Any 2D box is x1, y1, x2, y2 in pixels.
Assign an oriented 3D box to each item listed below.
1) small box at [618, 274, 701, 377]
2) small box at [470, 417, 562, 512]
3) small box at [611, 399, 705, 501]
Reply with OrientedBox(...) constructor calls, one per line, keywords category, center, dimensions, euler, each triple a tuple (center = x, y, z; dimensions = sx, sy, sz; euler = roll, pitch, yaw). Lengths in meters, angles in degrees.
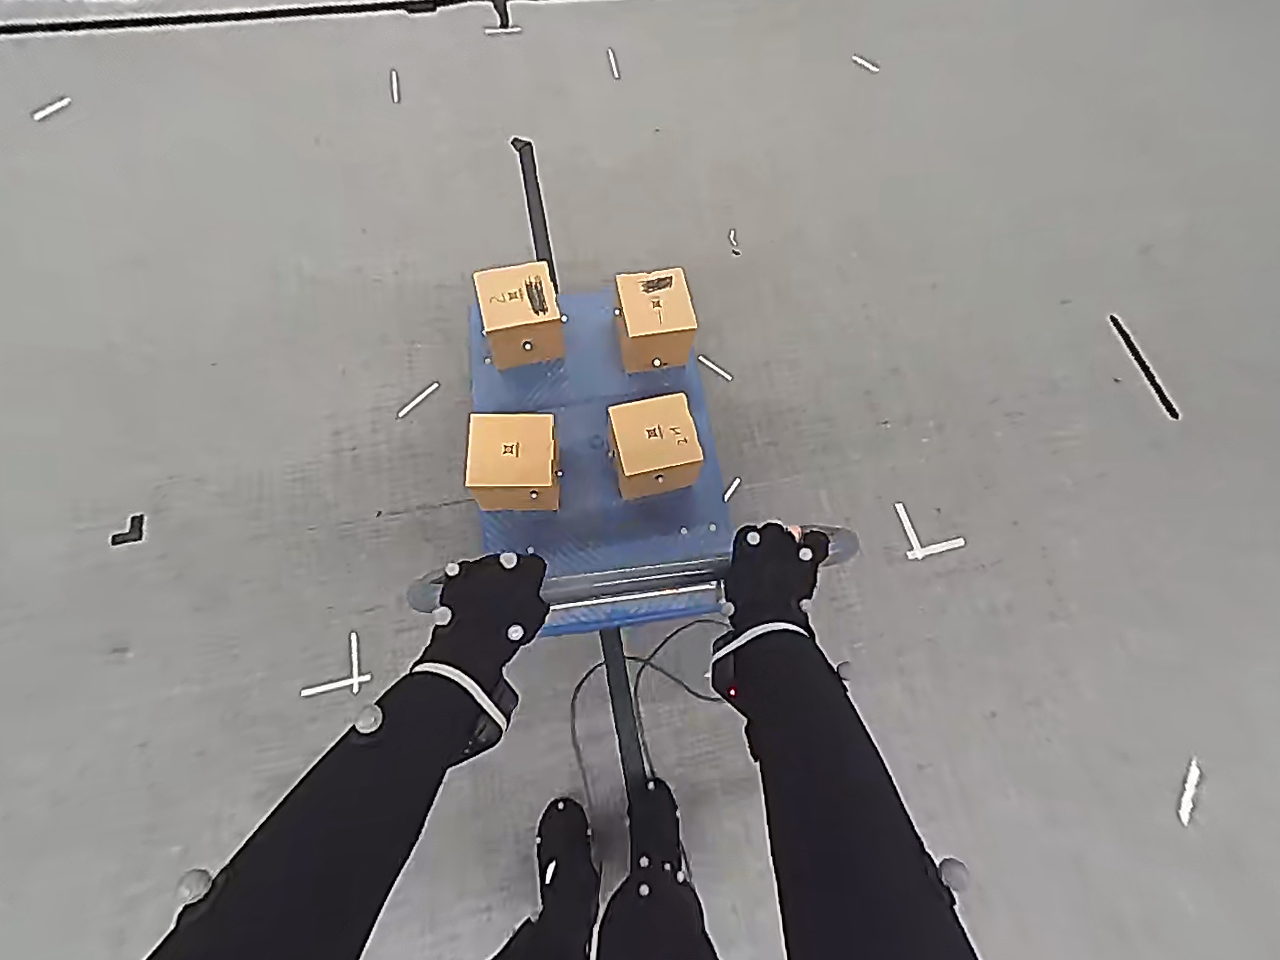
OrientedBox(category="small box", center=(0.041, -0.381, 1.348), dimensions=(0.168, 0.176, 0.179), euler=(-9, 72, -7))
OrientedBox(category="small box", center=(-0.267, -0.028, 1.201), dimensions=(0.179, 0.176, 0.168), euler=(0, 70, -6))
OrientedBox(category="small box", center=(0.035, -0.063, 1.235), dimensions=(0.179, 0.176, 0.168), euler=(-11, 72, -8))
